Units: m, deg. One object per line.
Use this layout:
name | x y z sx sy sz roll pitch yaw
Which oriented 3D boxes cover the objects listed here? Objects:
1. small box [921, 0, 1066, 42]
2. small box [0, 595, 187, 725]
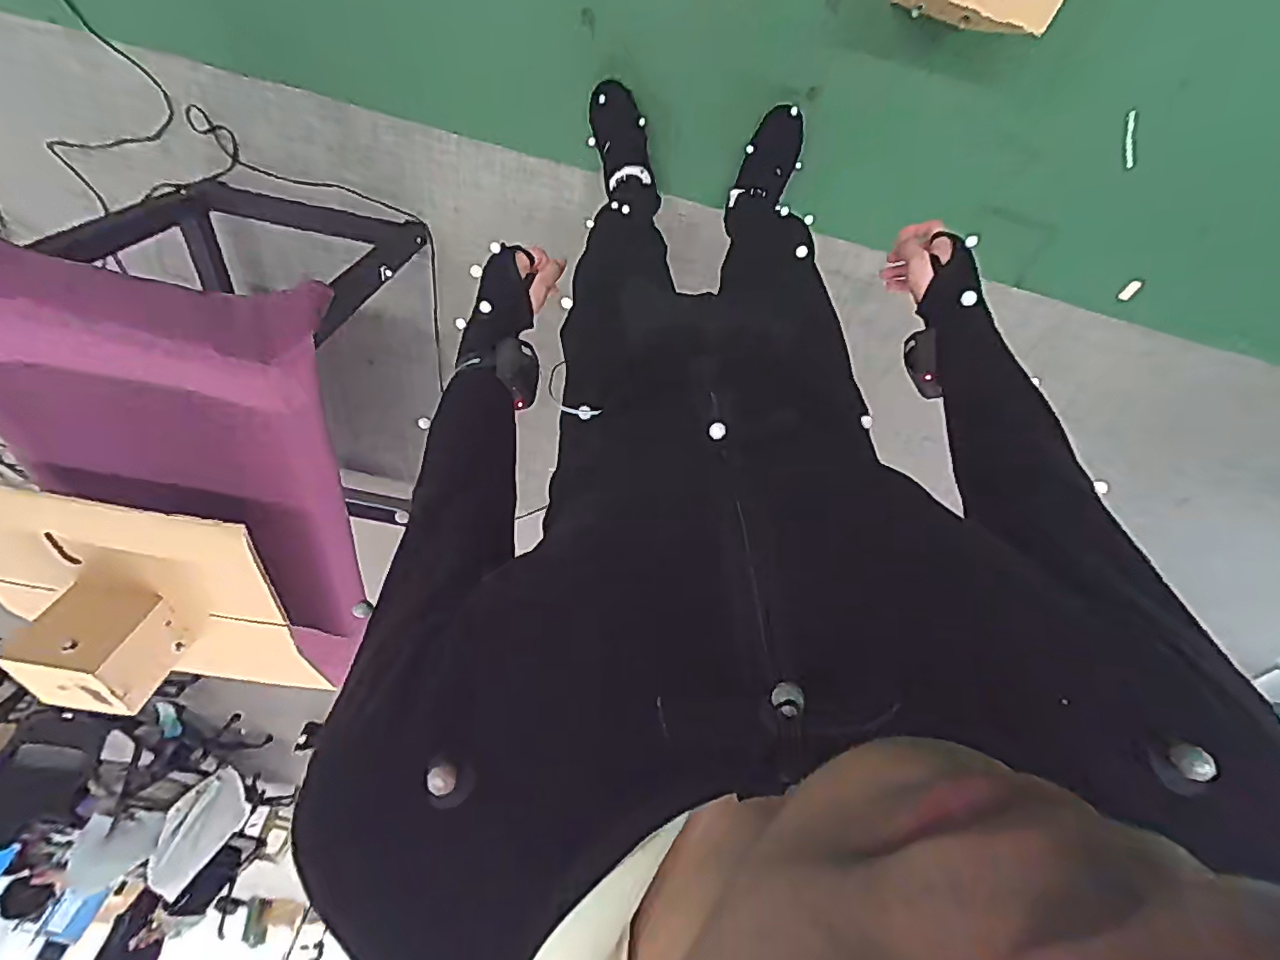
small box | 0.566 -0.807 0.826 0.168 0.176 0.179 14 131 -6
small box | -1.033 0.345 1.046 0.179 0.176 0.168 10 130 -2
